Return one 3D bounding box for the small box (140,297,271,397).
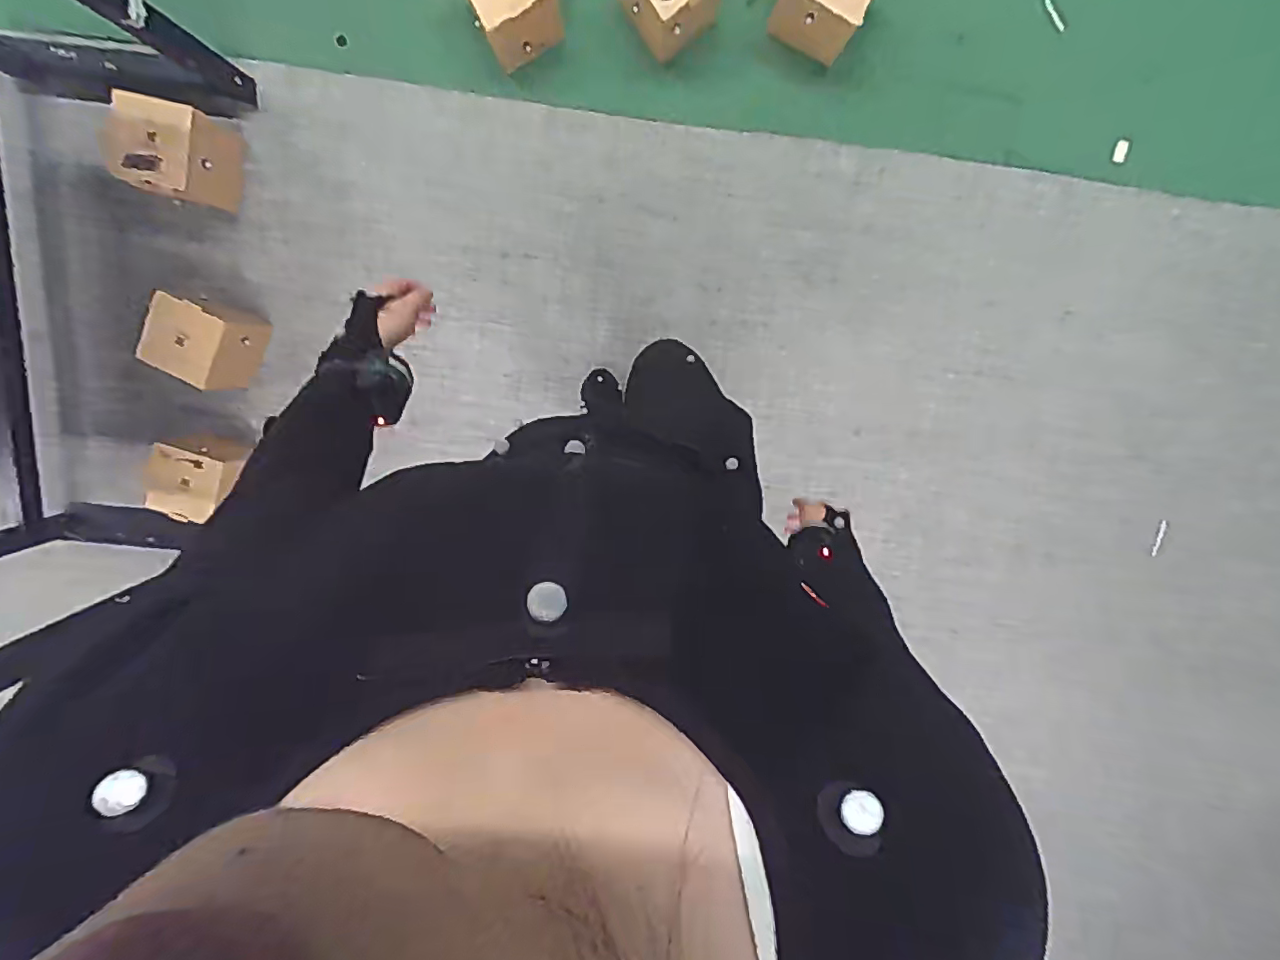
[{"bbox_3d":[-1.048,-0.323,1.320,0.168,0.176,0.179,26,102,-5],"label":"small box"}]

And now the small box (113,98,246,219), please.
[{"bbox_3d":[-1.039,-0.720,1.233,0.168,0.176,0.179,11,101,-4],"label":"small box"}]

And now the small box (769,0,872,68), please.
[{"bbox_3d":[0.405,-1.053,1.178,0.179,0.176,0.168,25,101,-6],"label":"small box"}]

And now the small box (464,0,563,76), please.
[{"bbox_3d":[-0.285,-1.040,1.174,0.168,0.176,0.179,-29,102,5],"label":"small box"}]

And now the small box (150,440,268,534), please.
[{"bbox_3d":[-1.101,0.012,1.394,0.168,0.176,0.179,18,102,-5],"label":"small box"}]
